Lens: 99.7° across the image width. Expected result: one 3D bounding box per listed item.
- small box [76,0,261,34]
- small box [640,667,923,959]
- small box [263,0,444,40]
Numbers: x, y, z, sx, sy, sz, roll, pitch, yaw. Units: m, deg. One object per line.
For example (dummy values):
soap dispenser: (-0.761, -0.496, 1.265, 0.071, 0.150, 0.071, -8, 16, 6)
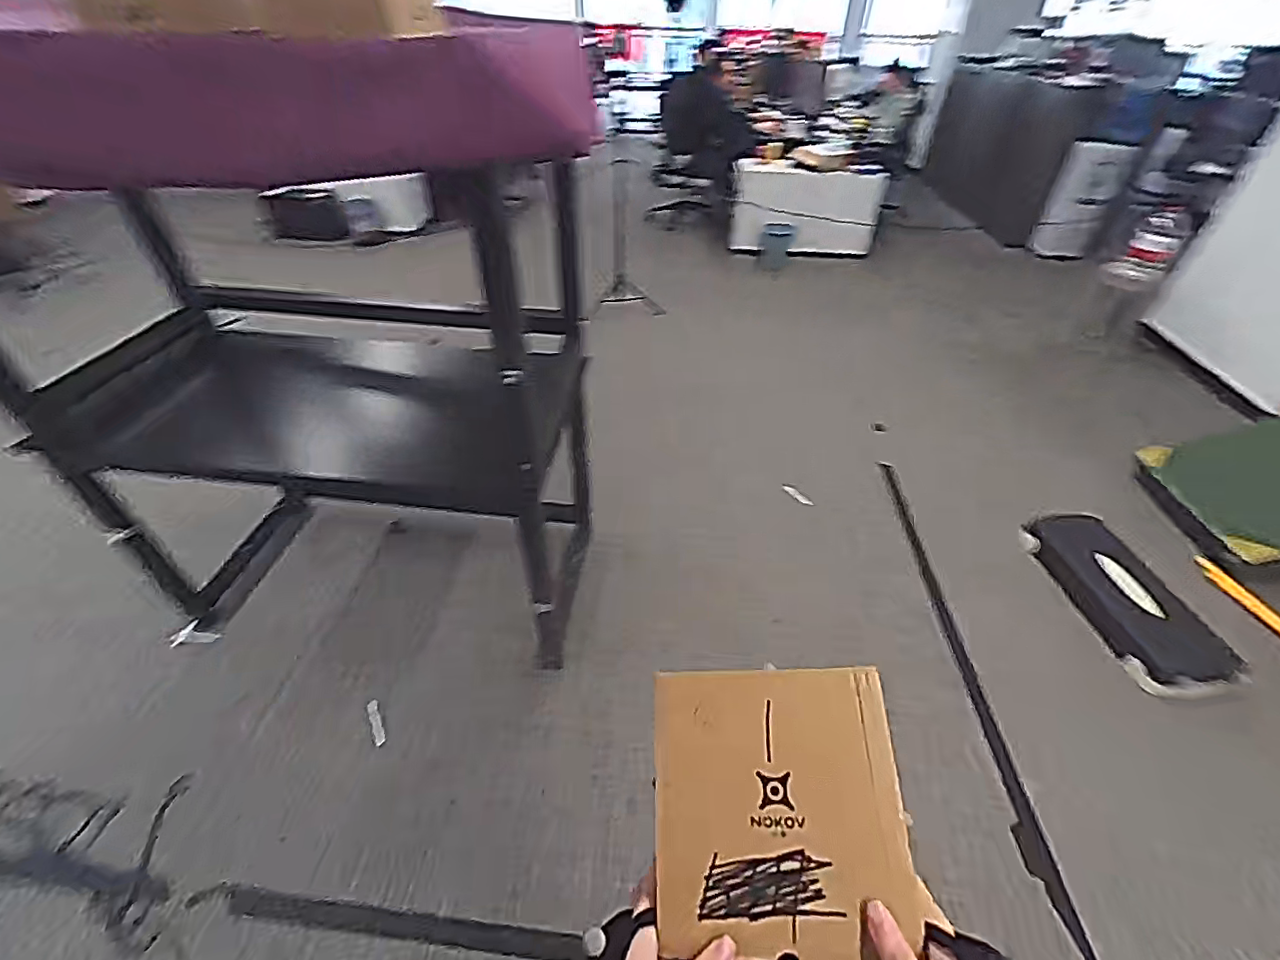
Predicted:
small box: (-0.653, -0.711, 0.721, 0.168, 0.176, 0.179, 4, 41, 3)
small box: (0.098, 0.250, 0.426, 0.168, 0.176, 0.179, -7, 64, 9)
small box: (-0.375, -0.677, 0.690, 0.179, 0.176, 0.168, 6, 41, 7)
